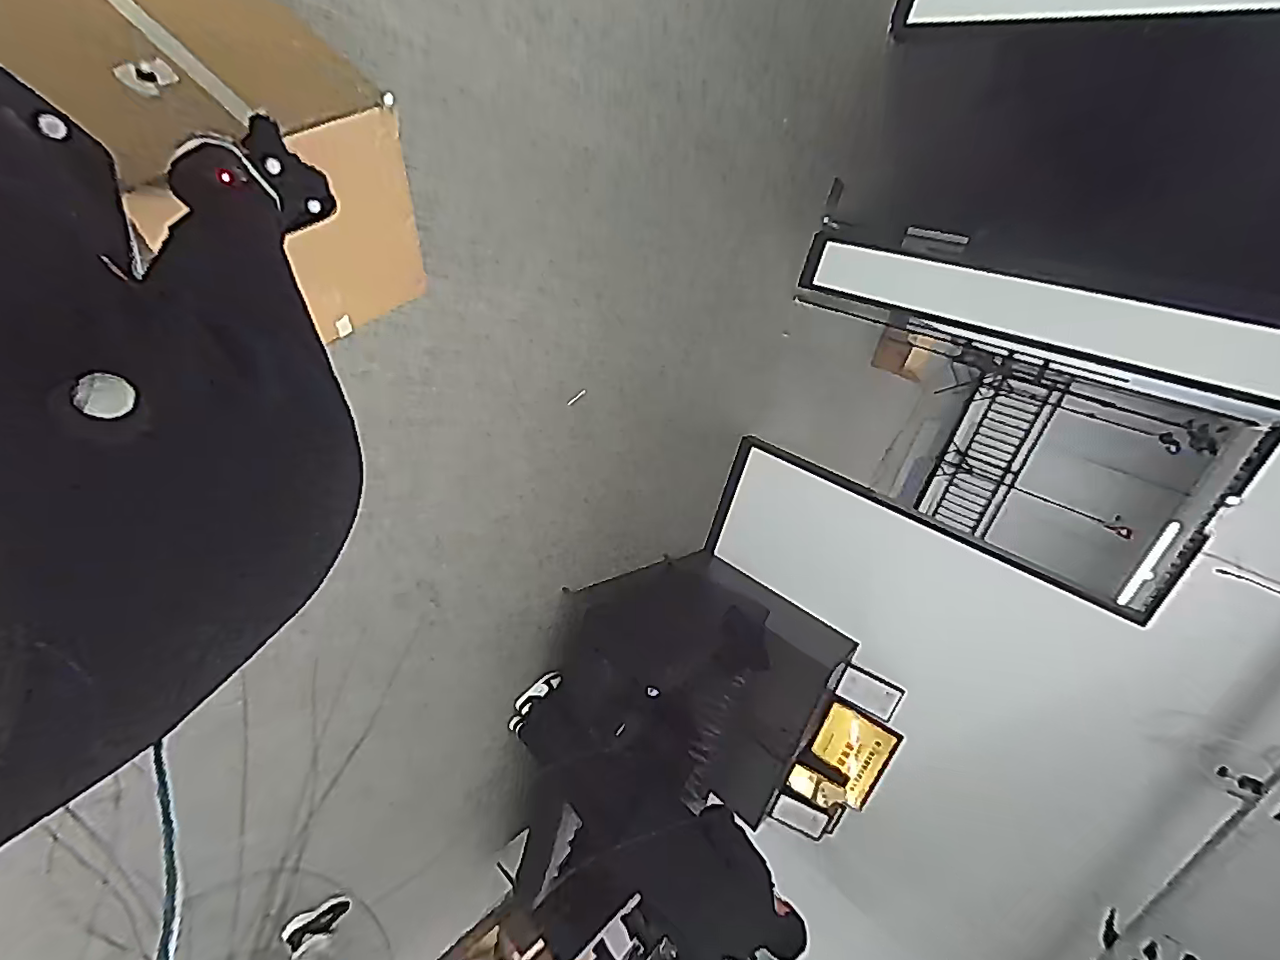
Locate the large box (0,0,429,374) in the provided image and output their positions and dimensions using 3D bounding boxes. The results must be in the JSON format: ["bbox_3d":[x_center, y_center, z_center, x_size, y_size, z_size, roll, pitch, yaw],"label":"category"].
[{"bbox_3d":[-0.564,-0.432,0.747,0.320,0.408,0.320,-44,170,-26],"label":"large box"}]
